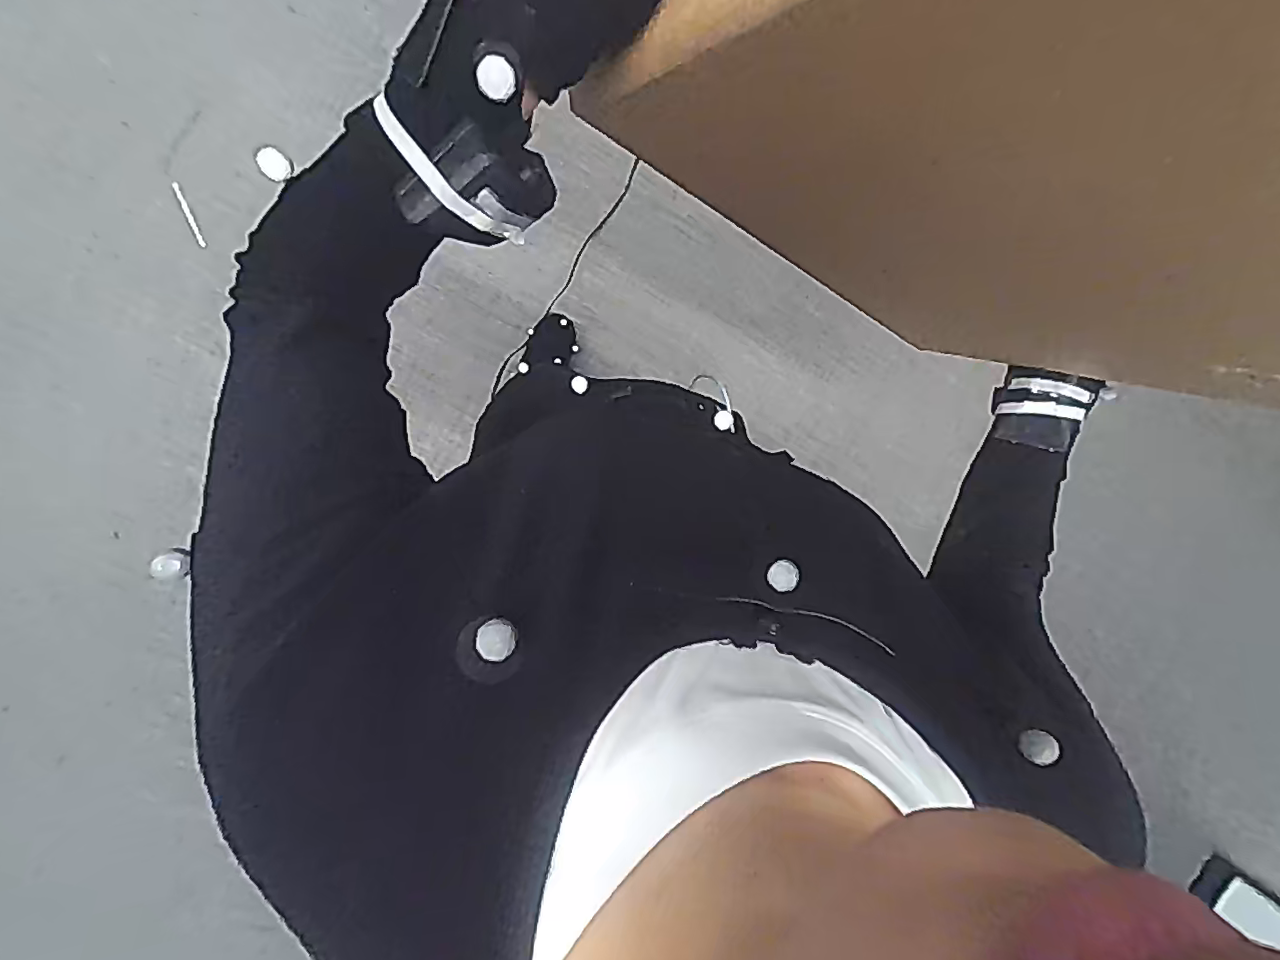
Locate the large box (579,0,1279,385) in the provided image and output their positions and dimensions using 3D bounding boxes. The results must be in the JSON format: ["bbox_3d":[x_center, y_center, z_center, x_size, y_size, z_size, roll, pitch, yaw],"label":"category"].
[{"bbox_3d":[0.240,-0.268,0.274,0.408,0.320,0.320,15,103,-35],"label":"large box"}]
